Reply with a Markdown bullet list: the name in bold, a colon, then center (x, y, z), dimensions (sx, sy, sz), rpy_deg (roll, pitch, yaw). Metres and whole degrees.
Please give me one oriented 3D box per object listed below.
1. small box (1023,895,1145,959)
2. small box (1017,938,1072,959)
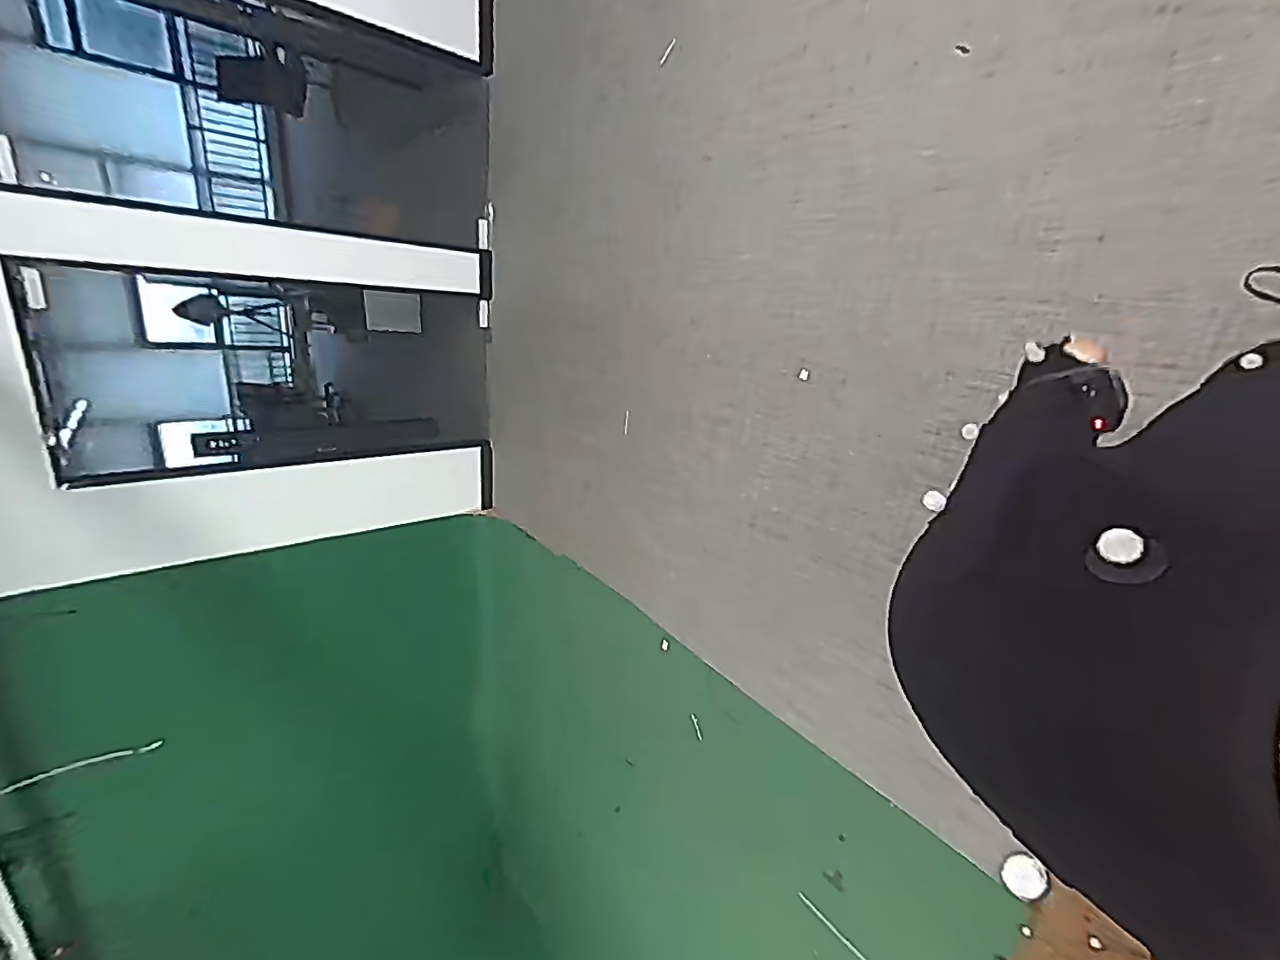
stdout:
- **small box**: center (0.927, 1.034, 1.135), dimensions (0.168, 0.176, 0.179), rpy_deg (33, 122, 42)
- **small box**: center (0.799, 1.045, 1.028), dimensions (0.179, 0.176, 0.168), rpy_deg (37, 125, 41)
